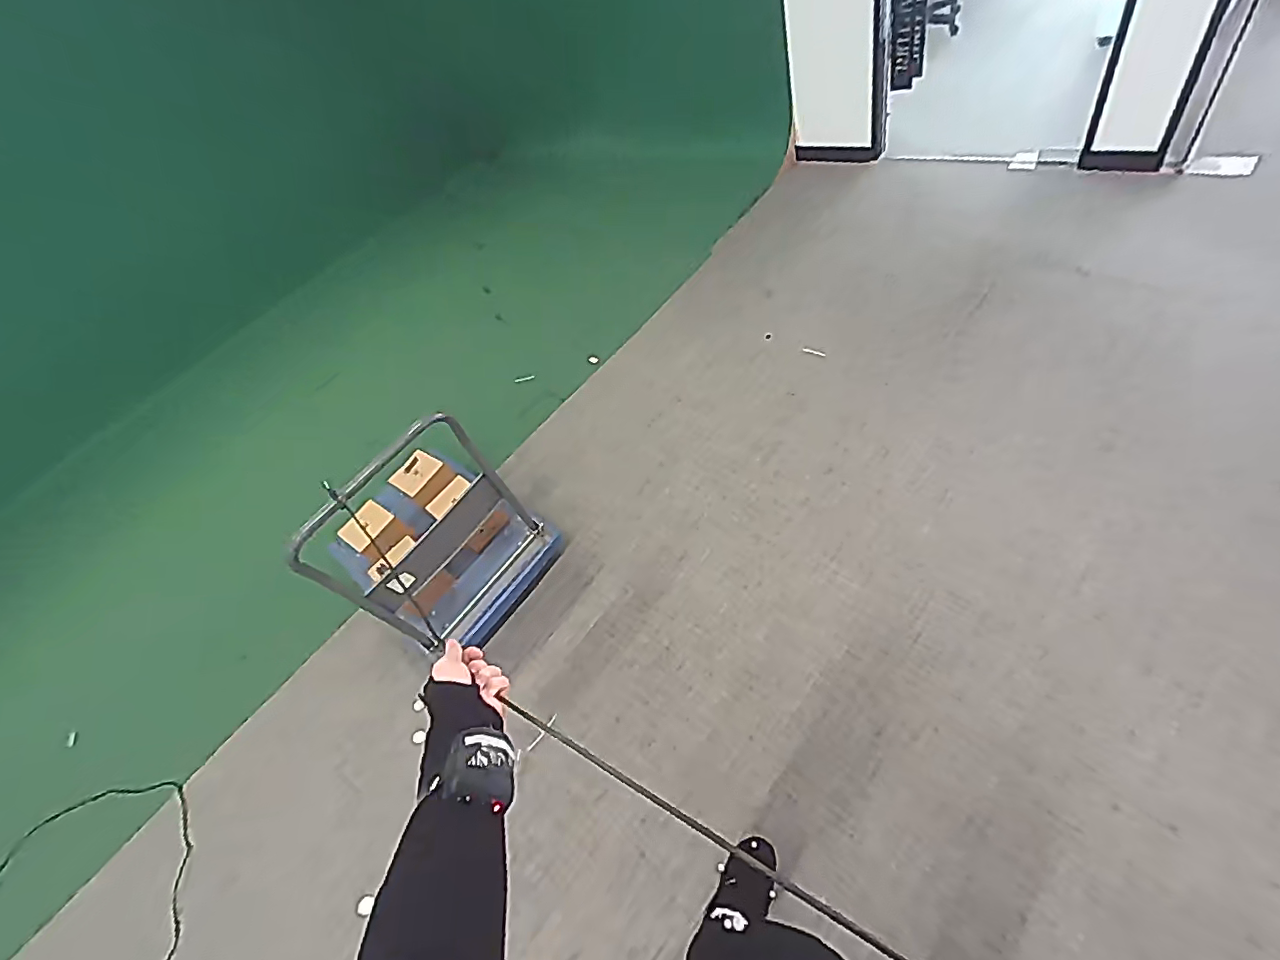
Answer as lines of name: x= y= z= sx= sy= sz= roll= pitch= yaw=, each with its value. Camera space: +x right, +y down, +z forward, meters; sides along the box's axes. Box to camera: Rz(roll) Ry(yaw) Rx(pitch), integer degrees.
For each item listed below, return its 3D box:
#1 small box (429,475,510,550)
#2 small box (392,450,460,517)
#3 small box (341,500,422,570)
small box: x=-0.598 y=0.120 z=1.908 sx=0.179 sy=0.176 sz=0.168 roll=29 pitch=68 yaw=35
small box: x=-0.795 y=0.018 z=2.063 sx=0.179 sy=0.176 sz=0.168 roll=24 pitch=66 yaw=33
small box: x=-0.937 y=0.207 z=1.974 sx=0.179 sy=0.176 sz=0.168 roll=23 pitch=65 yaw=34
